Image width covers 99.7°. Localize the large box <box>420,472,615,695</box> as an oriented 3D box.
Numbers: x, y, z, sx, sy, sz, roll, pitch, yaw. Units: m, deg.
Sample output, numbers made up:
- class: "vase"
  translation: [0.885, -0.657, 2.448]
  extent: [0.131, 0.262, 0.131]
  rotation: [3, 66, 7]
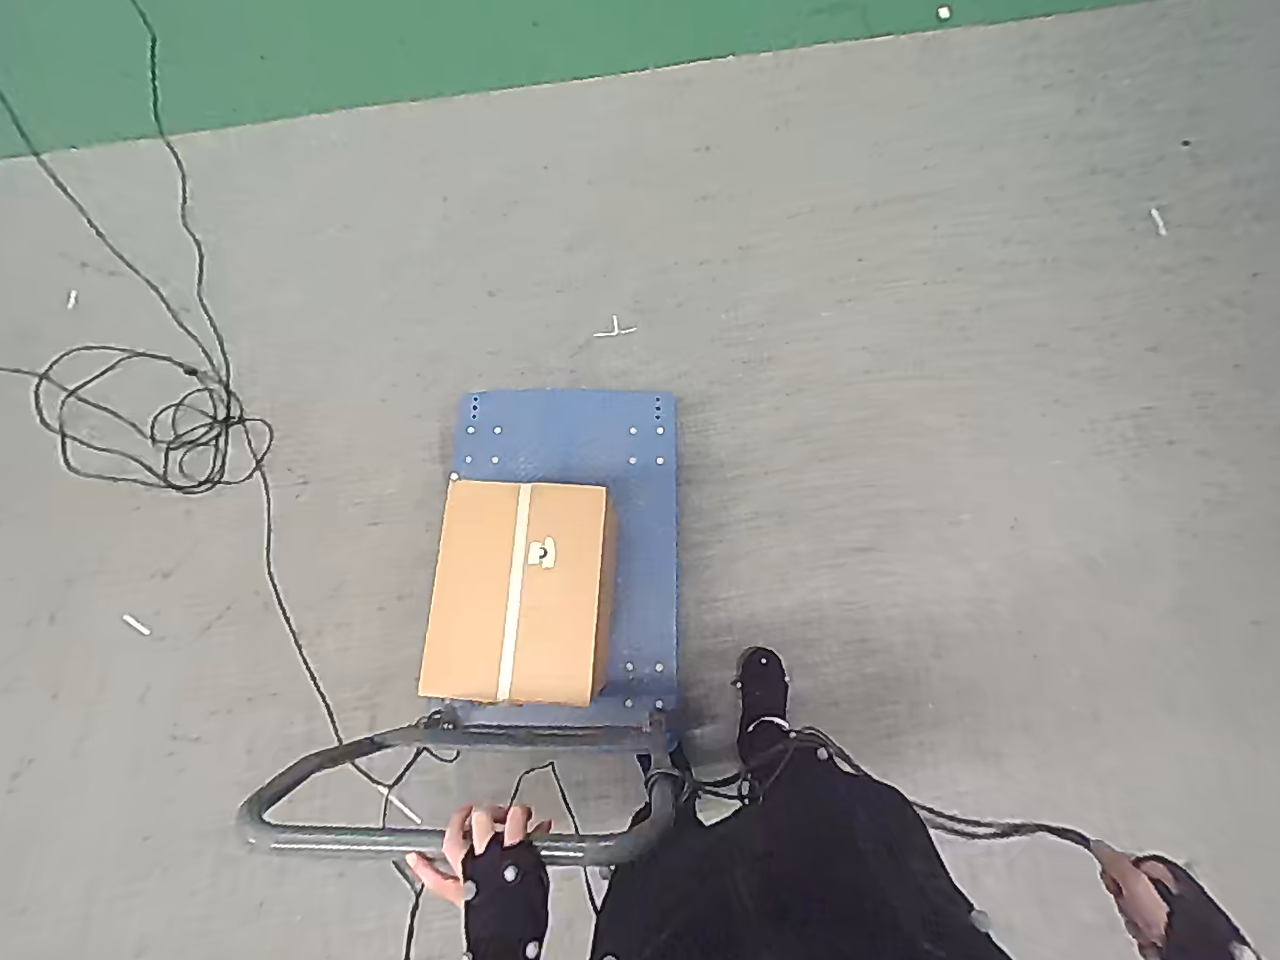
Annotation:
- class: "large box"
  translation: [-0.228, 0.220, 1.145]
  extent: [0.320, 0.320, 0.408]
  rotation: [3, 76, 2]
